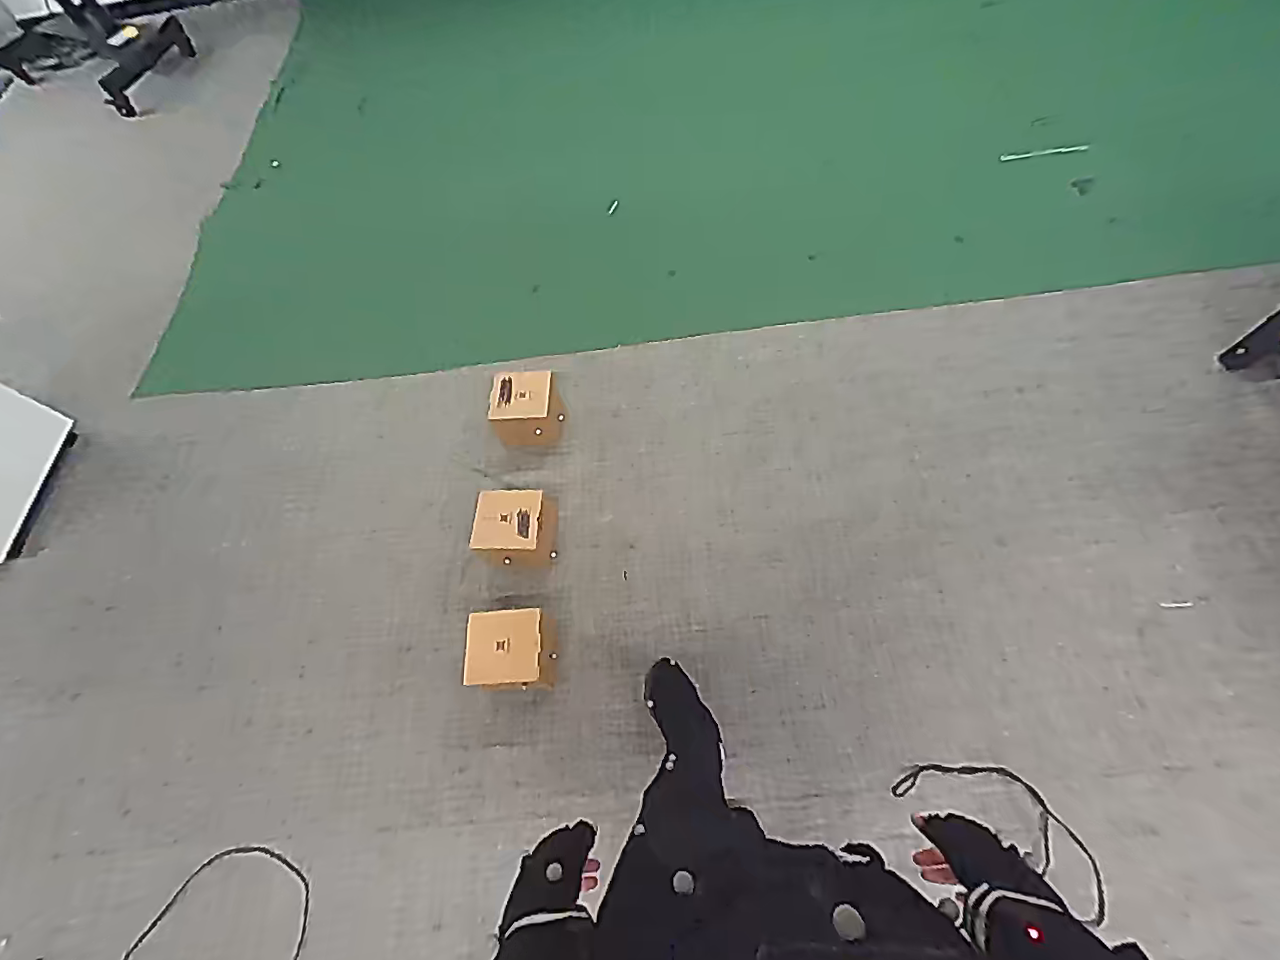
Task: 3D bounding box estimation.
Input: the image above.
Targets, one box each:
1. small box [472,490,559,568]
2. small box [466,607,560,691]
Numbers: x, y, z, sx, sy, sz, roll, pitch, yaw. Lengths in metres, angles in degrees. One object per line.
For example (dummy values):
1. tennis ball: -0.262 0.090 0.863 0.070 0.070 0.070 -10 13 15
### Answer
1. small box: -0.327 0.136 1.461 0.179 0.176 0.168 -1 63 7
2. small box: -0.303 0.416 1.320 0.179 0.176 0.168 -6 64 4
